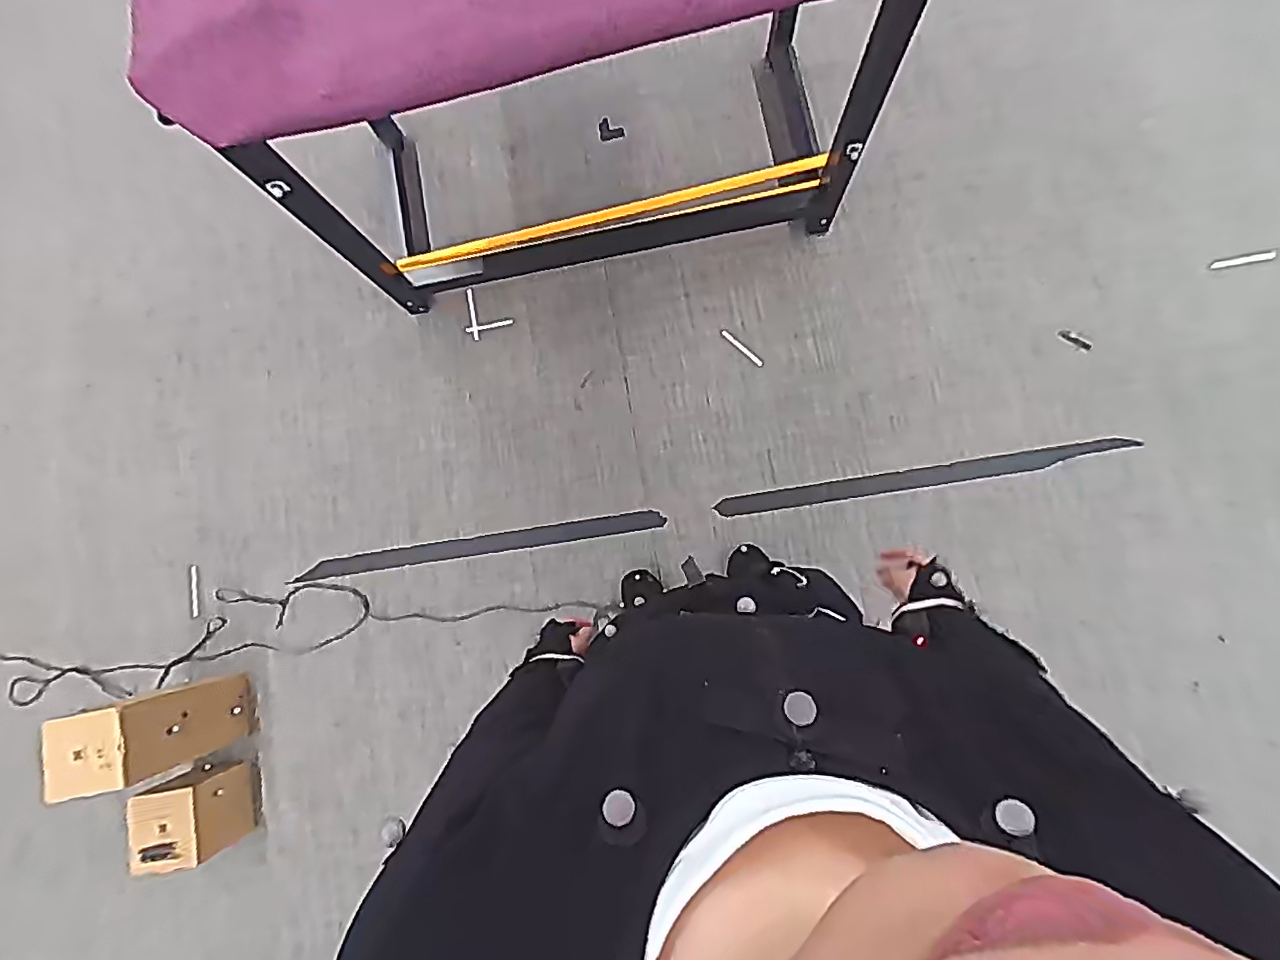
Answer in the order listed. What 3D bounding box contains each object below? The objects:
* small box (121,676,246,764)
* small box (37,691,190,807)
[{"bbox_3d":[-1.122,0.596,1.336,0.179,0.176,0.168,-10,82,2],"label":"small box"},{"bbox_3d":[-1.133,0.574,1.173,0.179,0.176,0.168,-12,83,2],"label":"small box"}]
